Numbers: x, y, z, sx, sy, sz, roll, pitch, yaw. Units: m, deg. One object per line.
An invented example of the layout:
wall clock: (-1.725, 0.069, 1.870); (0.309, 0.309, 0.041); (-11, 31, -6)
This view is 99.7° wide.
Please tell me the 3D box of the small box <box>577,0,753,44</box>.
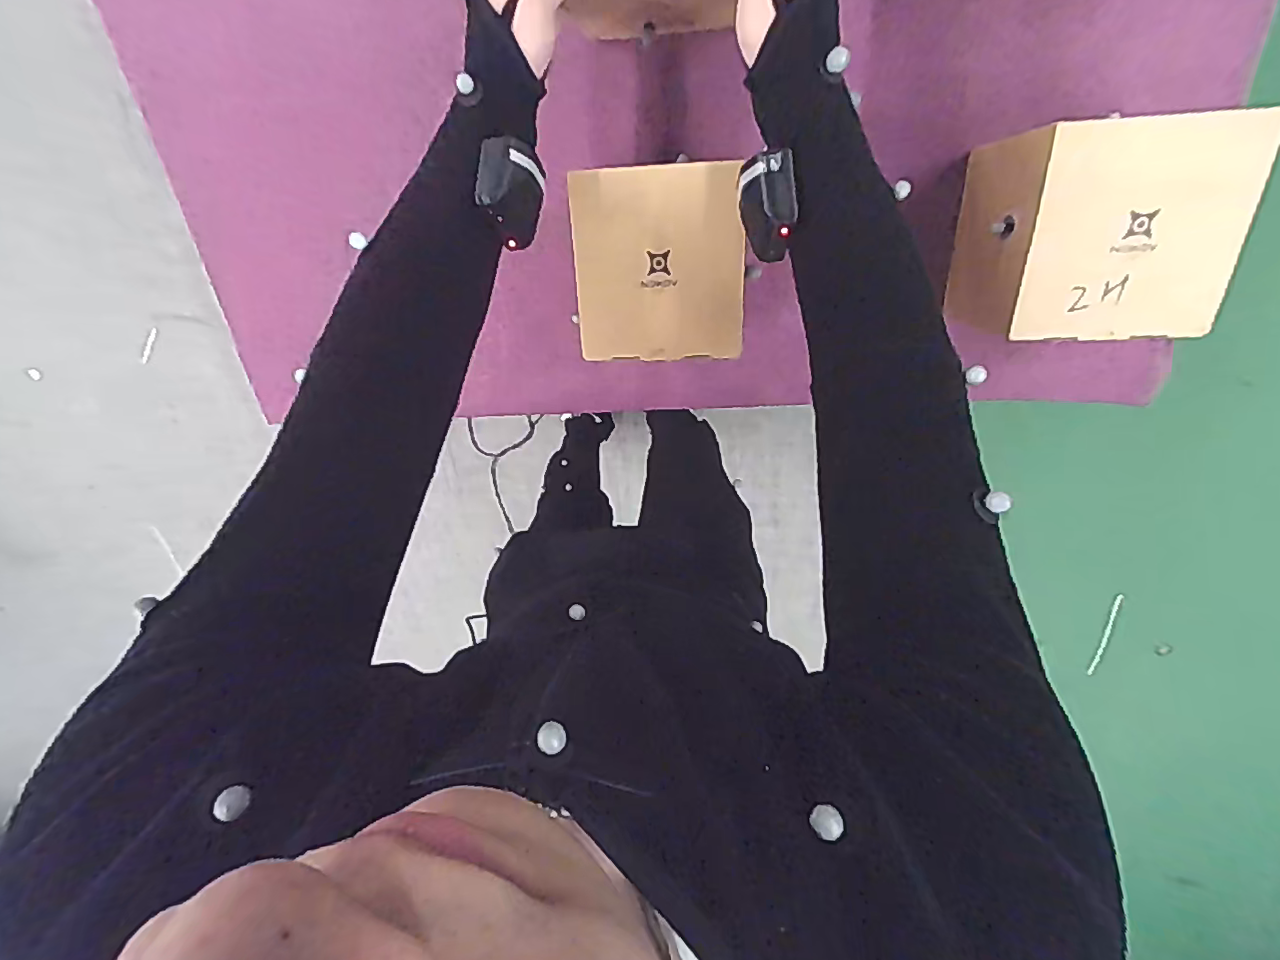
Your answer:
small box: (0.017, -0.506, 0.460); (0.168, 0.176, 0.179); (1, 118, 8)

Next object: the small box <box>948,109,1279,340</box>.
small box: (0.430, -0.239, 0.531); (0.168, 0.176, 0.179); (1, 114, 8)

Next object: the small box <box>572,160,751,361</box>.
small box: (0.029, -0.236, 0.591); (0.168, 0.176, 0.179); (0, 115, 7)
